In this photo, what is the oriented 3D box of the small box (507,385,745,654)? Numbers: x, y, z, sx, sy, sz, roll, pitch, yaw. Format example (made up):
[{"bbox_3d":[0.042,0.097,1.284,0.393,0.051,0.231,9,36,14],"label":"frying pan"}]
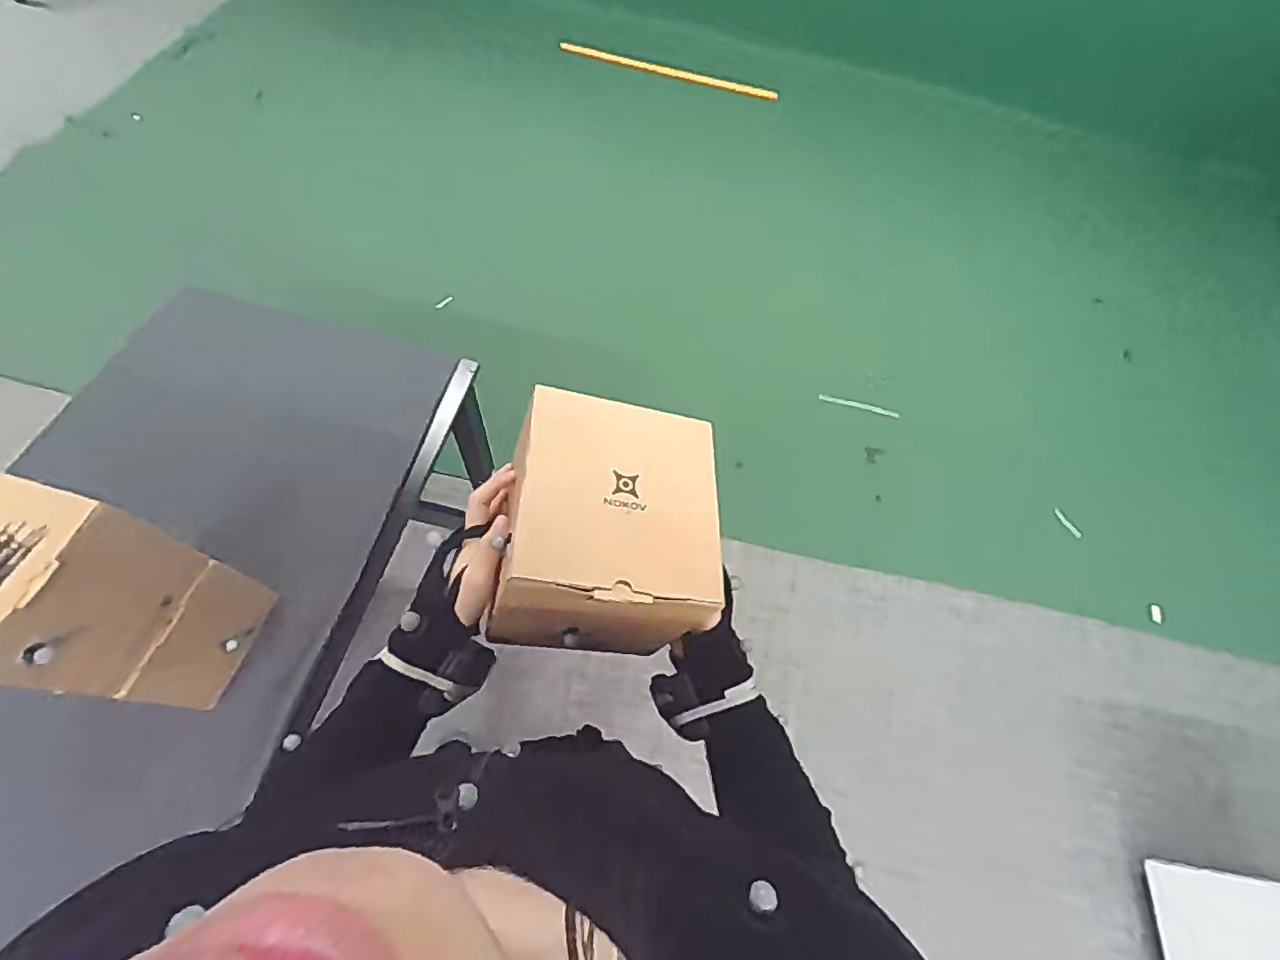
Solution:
[{"bbox_3d":[-0.023,0.046,0.494,0.168,0.176,0.179,9,58,-16],"label":"small box"}]

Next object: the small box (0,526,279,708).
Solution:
[{"bbox_3d":[-0.620,0.182,0.689,0.179,0.176,0.168,15,62,1],"label":"small box"}]
